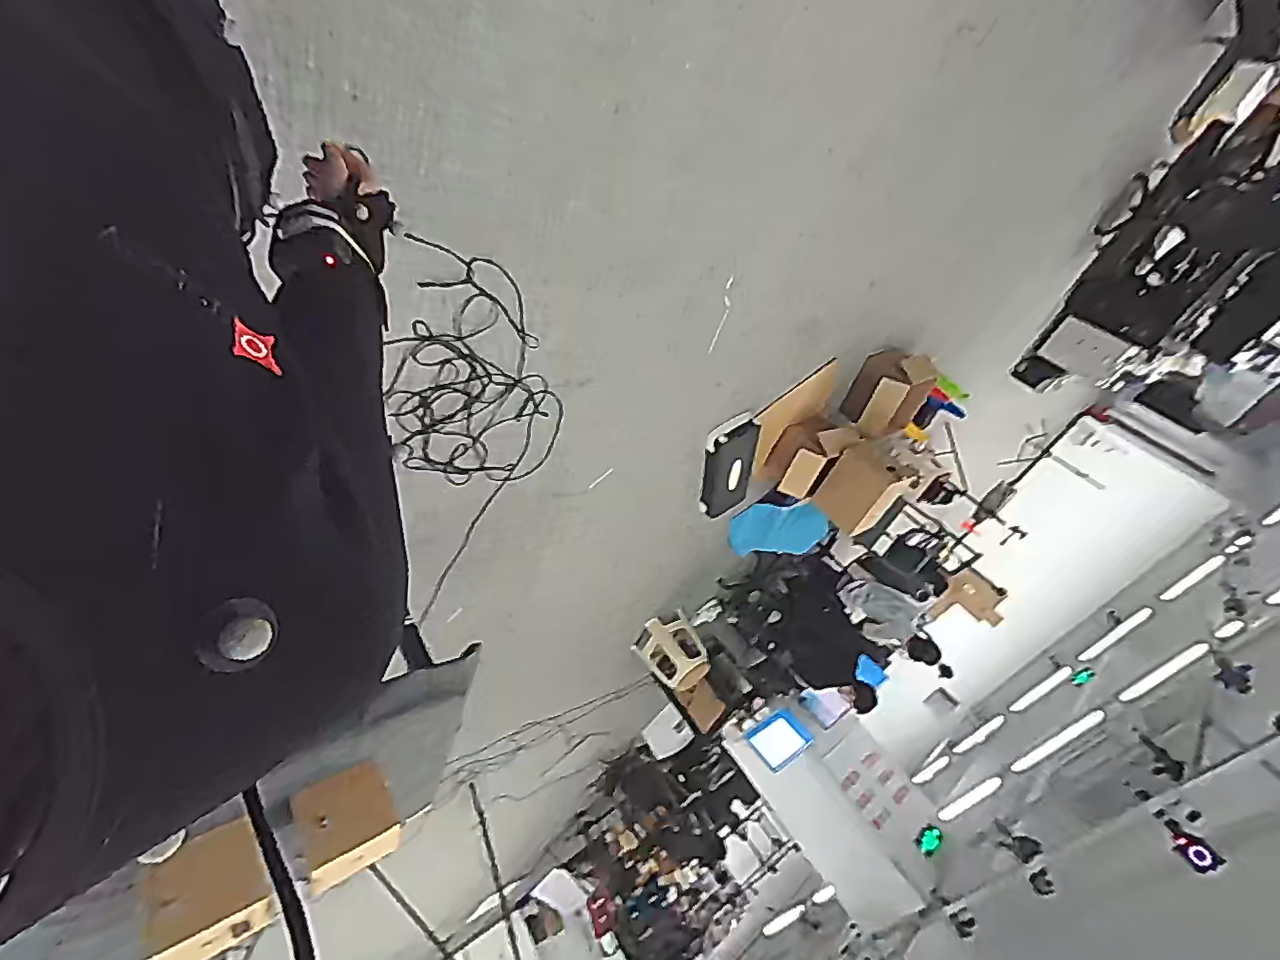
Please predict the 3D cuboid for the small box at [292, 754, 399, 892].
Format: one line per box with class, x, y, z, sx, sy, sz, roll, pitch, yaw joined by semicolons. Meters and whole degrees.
small box;-0.657;0.756;1.203;0.179;0.176;0.168;-15;141;-39
